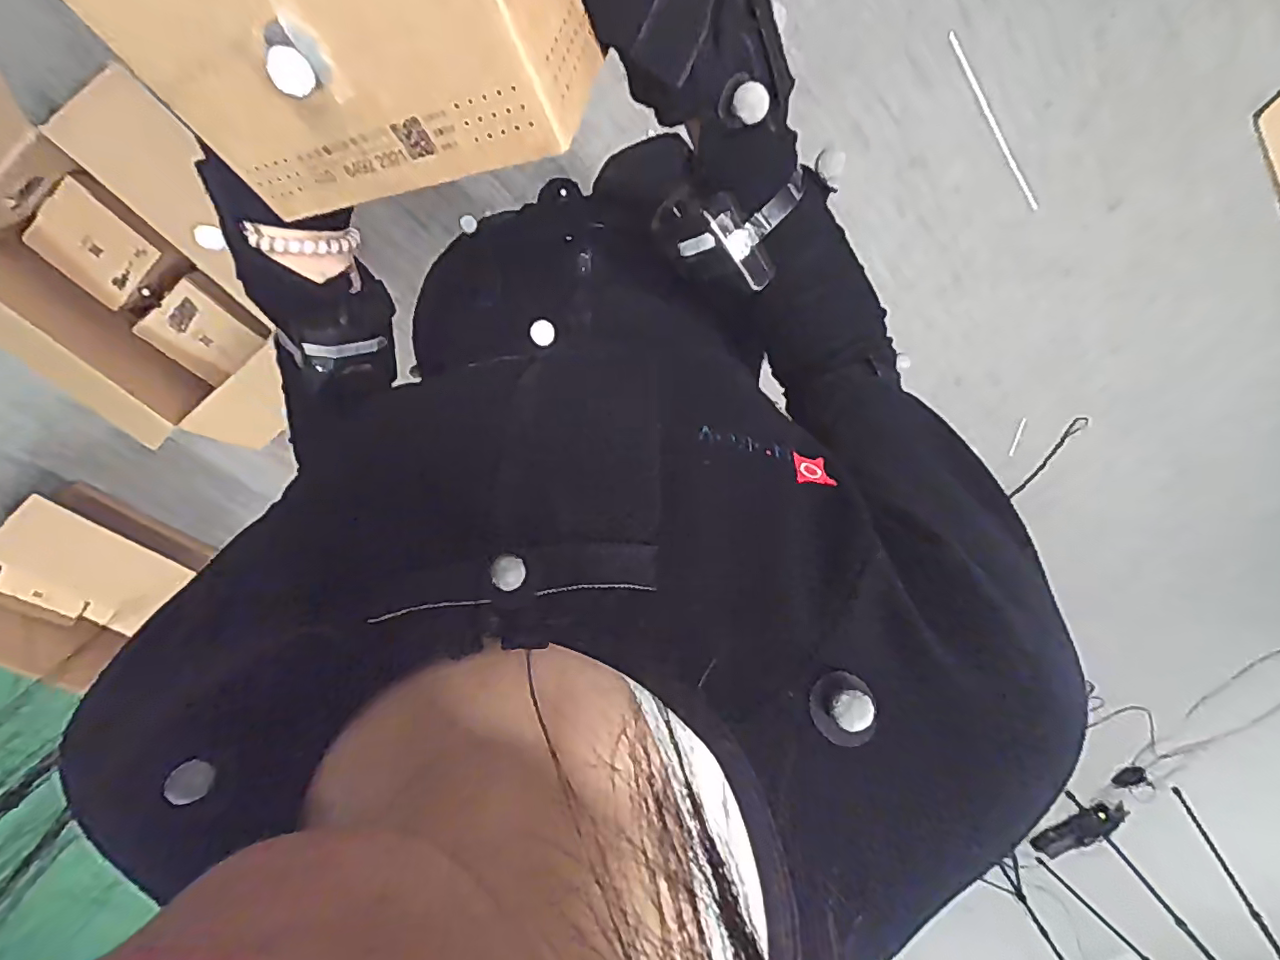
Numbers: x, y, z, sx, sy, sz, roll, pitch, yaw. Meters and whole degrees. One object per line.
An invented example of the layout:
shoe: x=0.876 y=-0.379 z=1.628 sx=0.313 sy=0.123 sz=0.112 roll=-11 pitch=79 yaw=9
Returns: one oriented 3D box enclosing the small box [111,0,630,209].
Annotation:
small box: x=-0.109 y=-0.243 z=0.210 sx=0.168 sy=0.179 sz=0.176 roll=1 pitch=152 yaw=22
